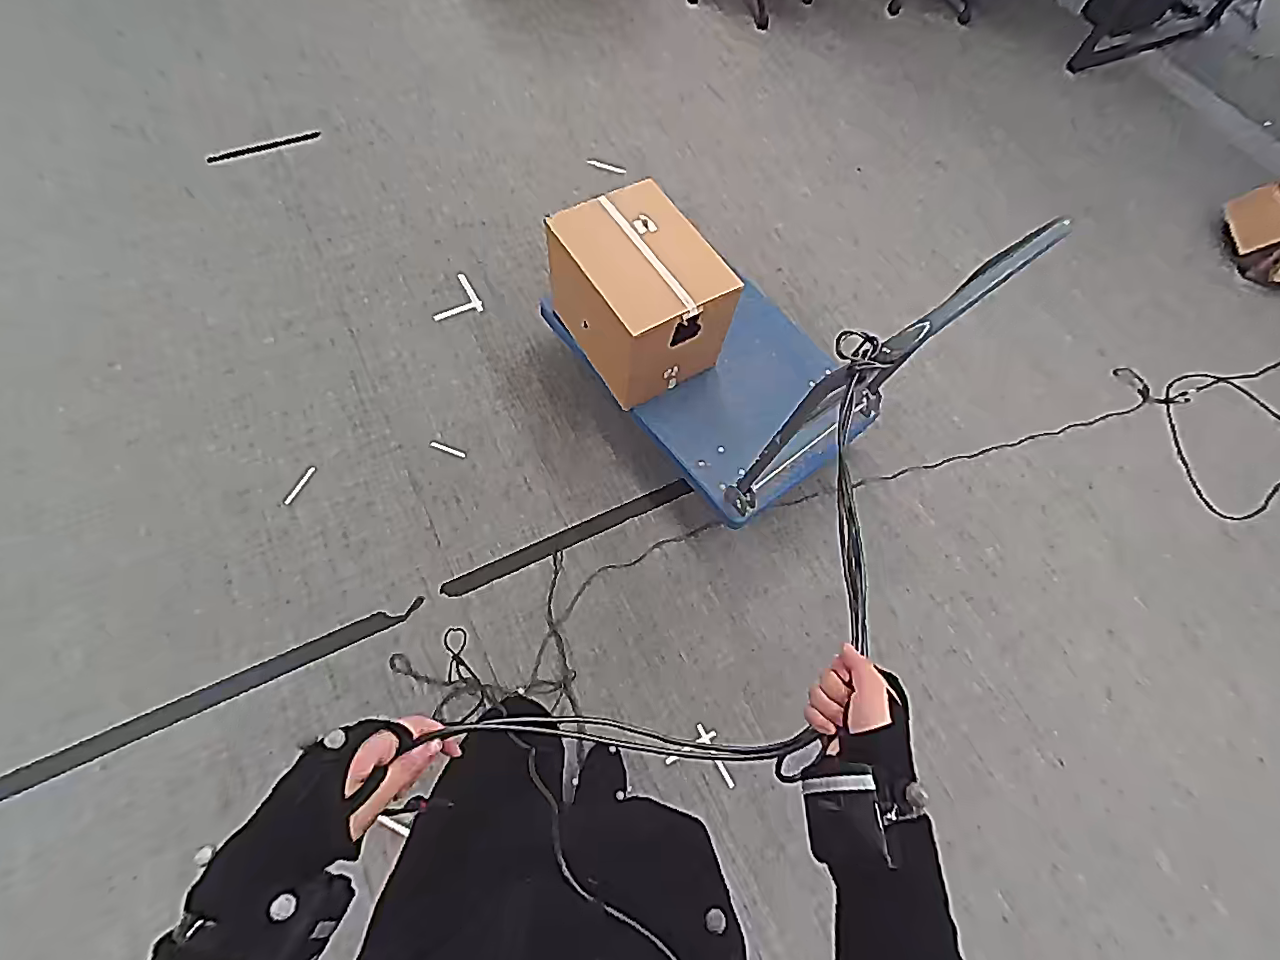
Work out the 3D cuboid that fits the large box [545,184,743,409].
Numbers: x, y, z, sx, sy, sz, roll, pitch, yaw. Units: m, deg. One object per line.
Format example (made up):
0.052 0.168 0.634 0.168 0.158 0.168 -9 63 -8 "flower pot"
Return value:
-0.002 -0.465 1.398 0.320 0.320 0.408 -29 71 -17 "large box"
